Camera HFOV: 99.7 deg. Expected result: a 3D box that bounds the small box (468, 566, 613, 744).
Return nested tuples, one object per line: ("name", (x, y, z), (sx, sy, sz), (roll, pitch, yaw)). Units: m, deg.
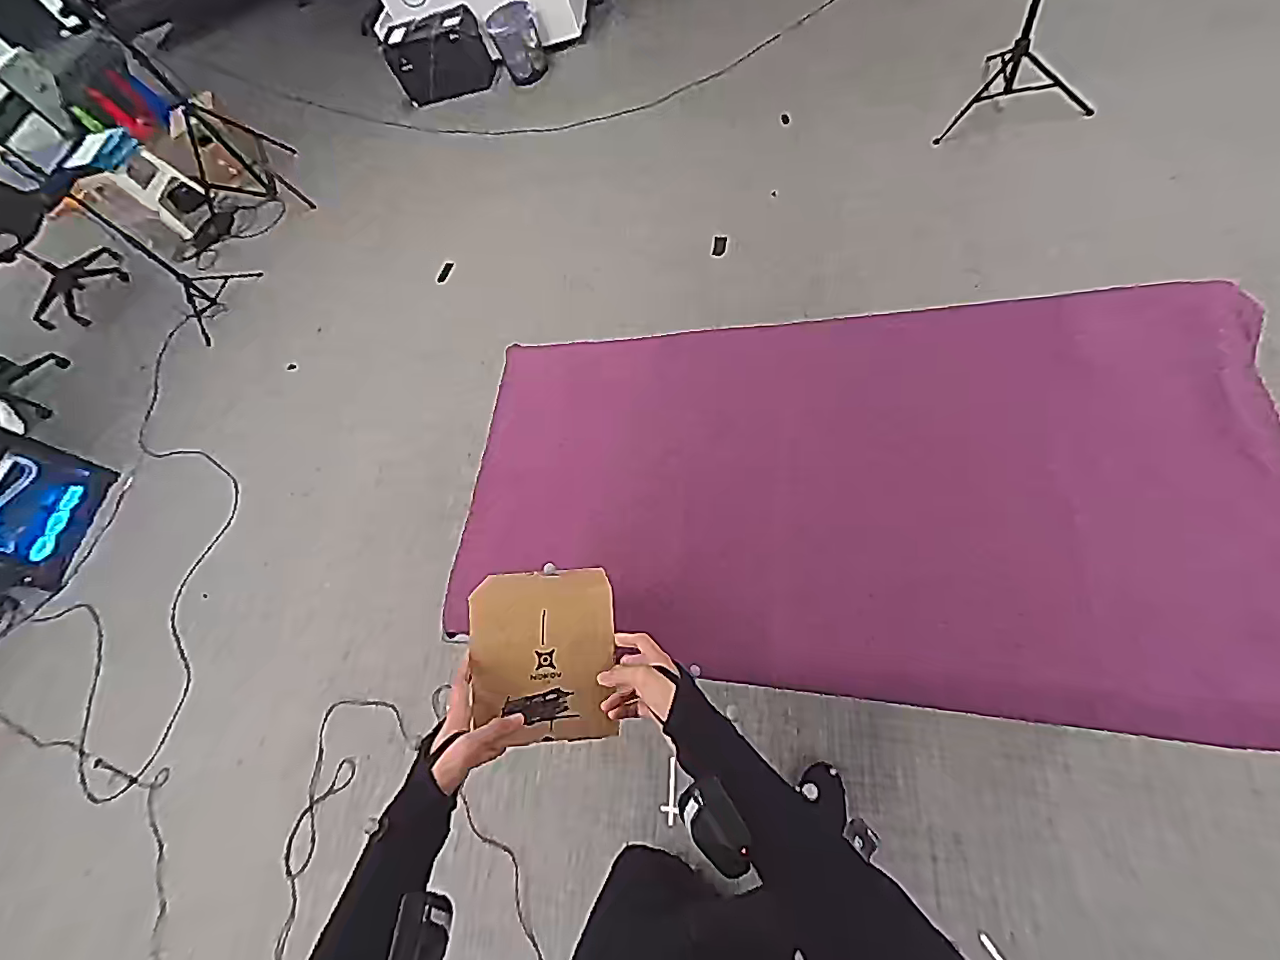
("small box", (-0.123, 0.213, 0.704), (0.168, 0.176, 0.179), (-2, 88, -8))
